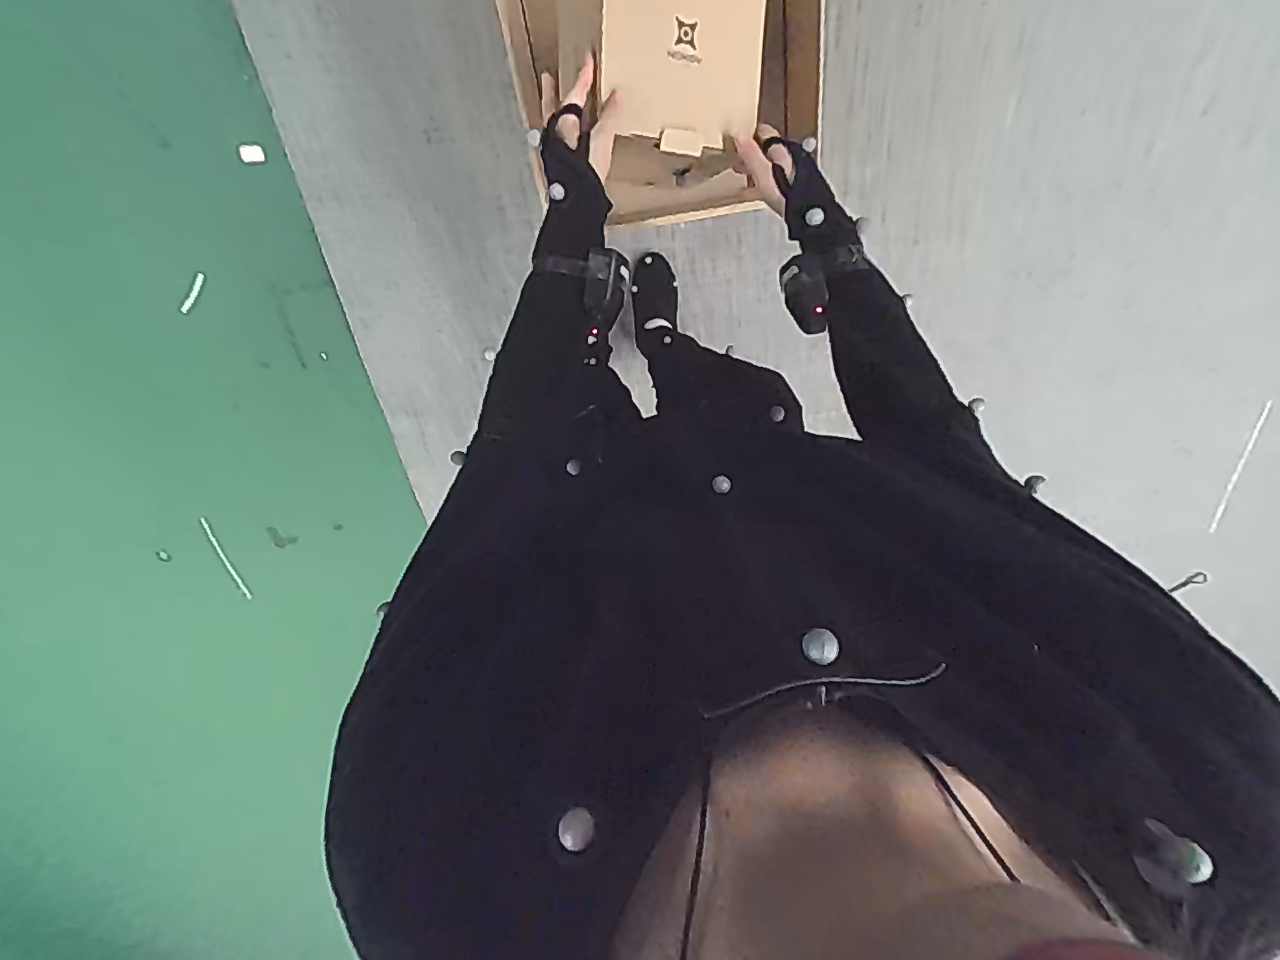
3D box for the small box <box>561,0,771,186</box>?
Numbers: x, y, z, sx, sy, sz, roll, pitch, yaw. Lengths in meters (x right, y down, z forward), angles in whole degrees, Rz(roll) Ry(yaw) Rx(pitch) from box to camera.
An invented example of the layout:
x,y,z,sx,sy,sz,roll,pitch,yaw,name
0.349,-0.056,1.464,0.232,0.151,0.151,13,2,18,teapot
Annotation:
x,y,z,sx,sy,sz,roll,pitch,yaw,name
0.016,-0.429,0.569,0.168,0.176,0.179,-3,106,-21,small box
